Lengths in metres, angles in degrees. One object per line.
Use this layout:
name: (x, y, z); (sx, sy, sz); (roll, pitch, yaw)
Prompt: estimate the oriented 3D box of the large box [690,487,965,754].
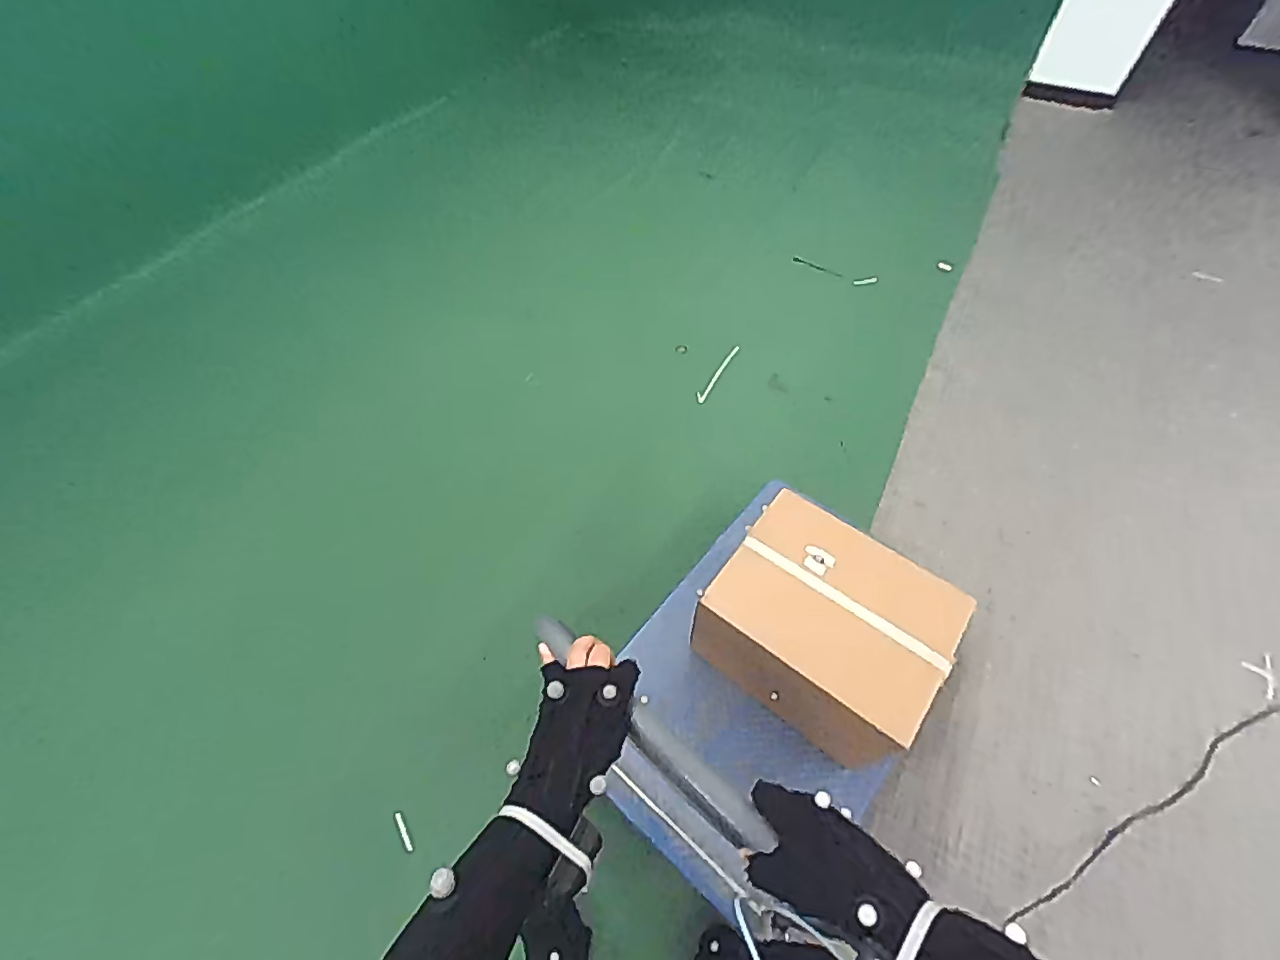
large box: (0.355, 0.293, 1.120); (0.408, 0.320, 0.320); (33, 63, 21)
